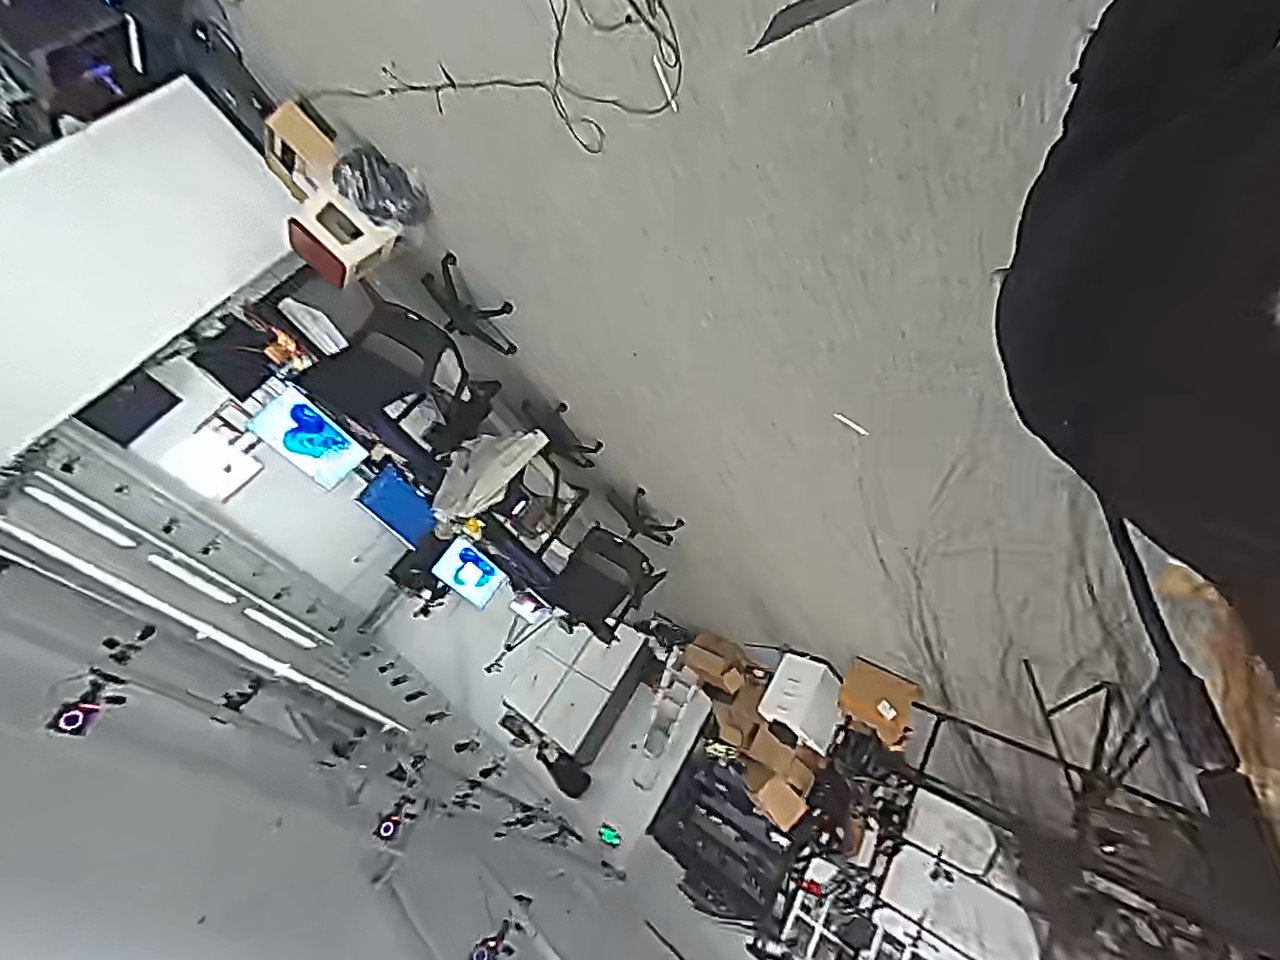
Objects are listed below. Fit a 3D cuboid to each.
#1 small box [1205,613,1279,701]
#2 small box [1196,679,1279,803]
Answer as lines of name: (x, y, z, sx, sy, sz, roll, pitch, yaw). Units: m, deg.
small box: (1.384, 0.413, 1.178, 0.179, 0.176, 0.168, 12, 150, 42)
small box: (1.304, 0.547, 1.122, 0.168, 0.176, 0.179, 14, 151, 40)
